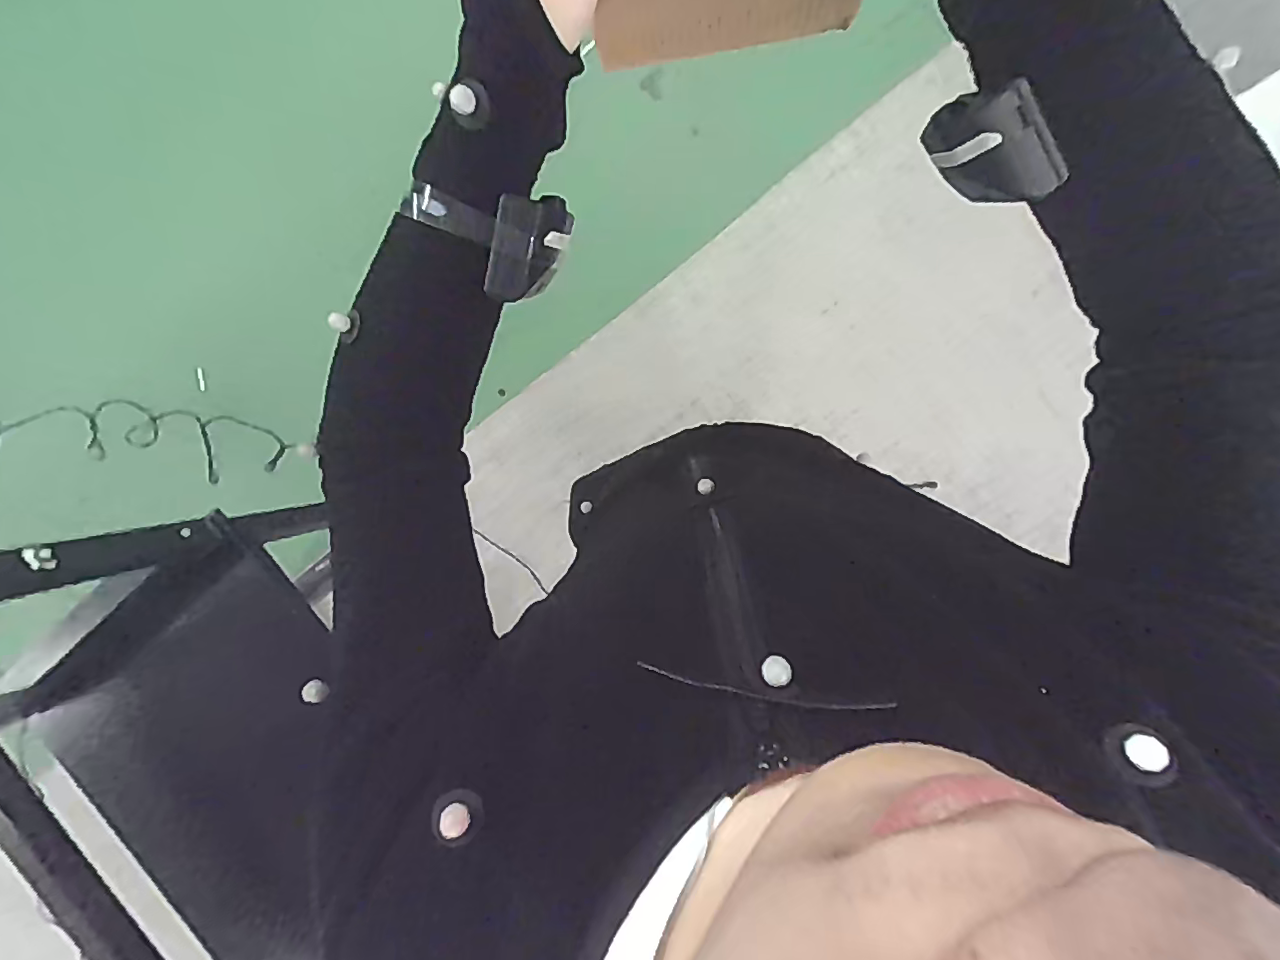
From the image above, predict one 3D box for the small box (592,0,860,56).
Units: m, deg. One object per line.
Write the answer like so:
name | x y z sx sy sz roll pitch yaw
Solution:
small box | 0.046 -0.375 0.293 0.179 0.176 0.168 -2 94 8
